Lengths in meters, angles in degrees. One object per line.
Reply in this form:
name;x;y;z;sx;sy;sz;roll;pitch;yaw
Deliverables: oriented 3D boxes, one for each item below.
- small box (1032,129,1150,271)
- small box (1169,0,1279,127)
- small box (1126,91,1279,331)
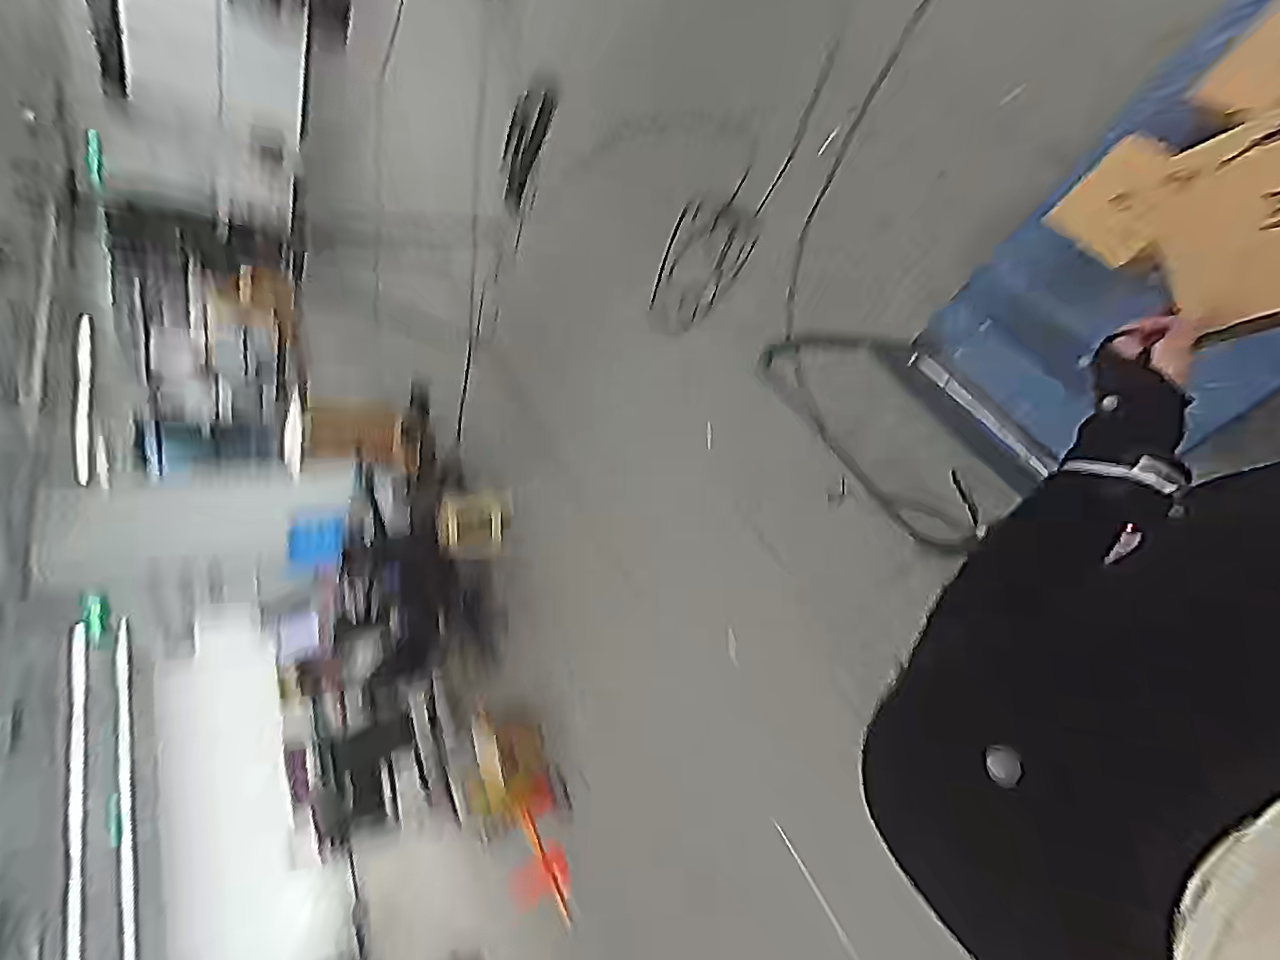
small box;0.916;-0.527;1.043;0.179;0.176;0.168;59;134;25
small box;1.038;-0.668;0.883;0.168;0.176;0.179;57;133;26
small box;0.608;-0.255;0.526;0.168;0.176;0.179;-15;87;46
